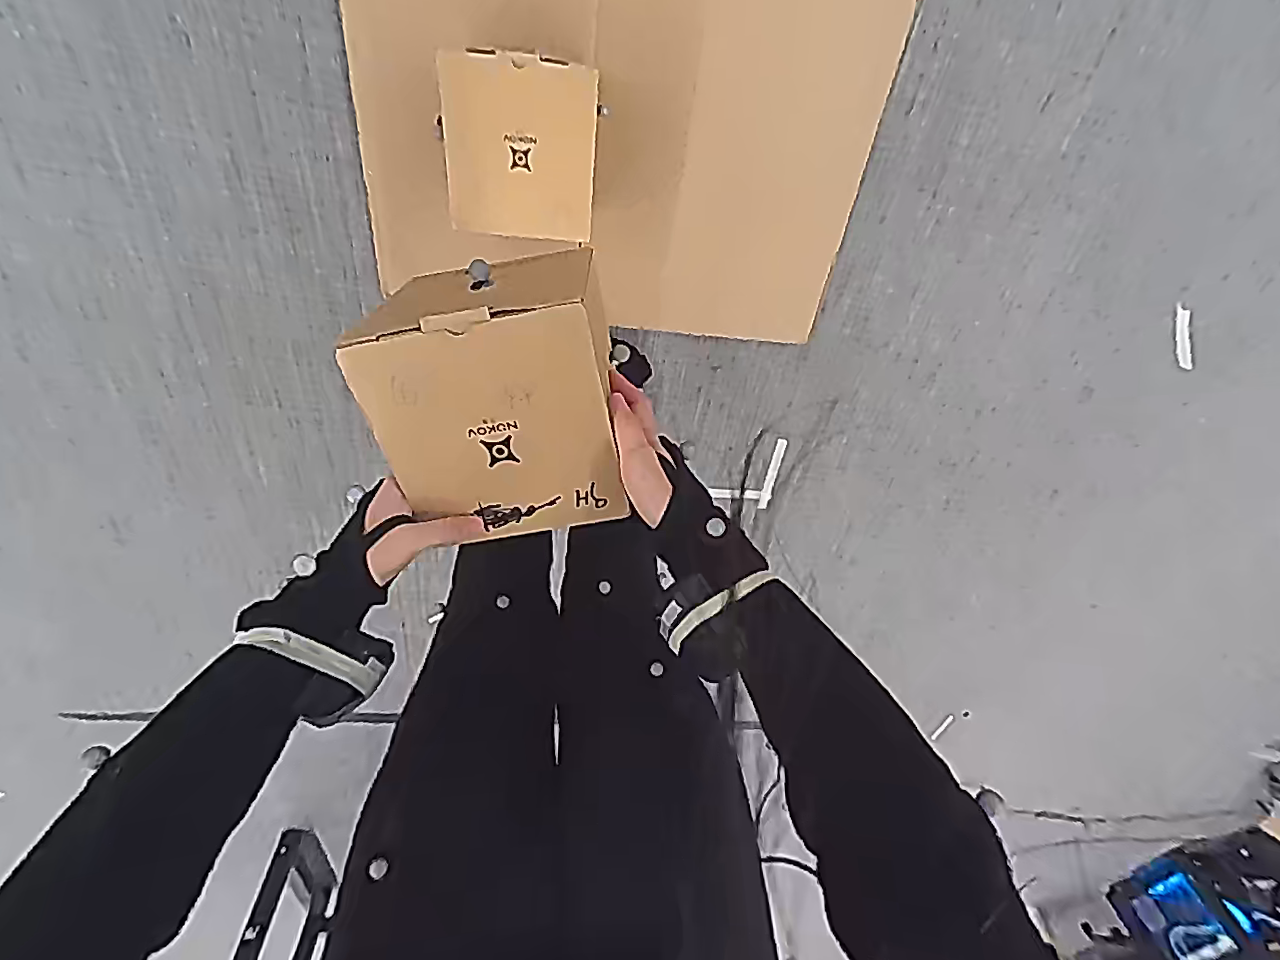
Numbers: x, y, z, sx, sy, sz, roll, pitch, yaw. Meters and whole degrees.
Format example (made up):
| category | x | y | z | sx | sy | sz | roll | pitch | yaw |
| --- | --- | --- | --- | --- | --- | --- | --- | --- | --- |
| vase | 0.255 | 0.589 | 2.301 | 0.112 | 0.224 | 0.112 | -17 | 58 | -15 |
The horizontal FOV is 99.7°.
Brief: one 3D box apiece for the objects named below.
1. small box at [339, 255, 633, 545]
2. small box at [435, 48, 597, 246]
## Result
| category | x | y | z | sx | sy | sz | roll | pitch | yaw |
| --- | --- | --- | --- | --- | --- | --- | --- | --- | --- |
| small box | -0.103 | -0.075 | 0.449 | 0.168 | 0.176 | 0.179 | -9 | 124 | 3 |
| small box | -0.139 | -0.404 | 0.661 | 0.168 | 0.176 | 0.179 | 1 | 126 | -7 |
